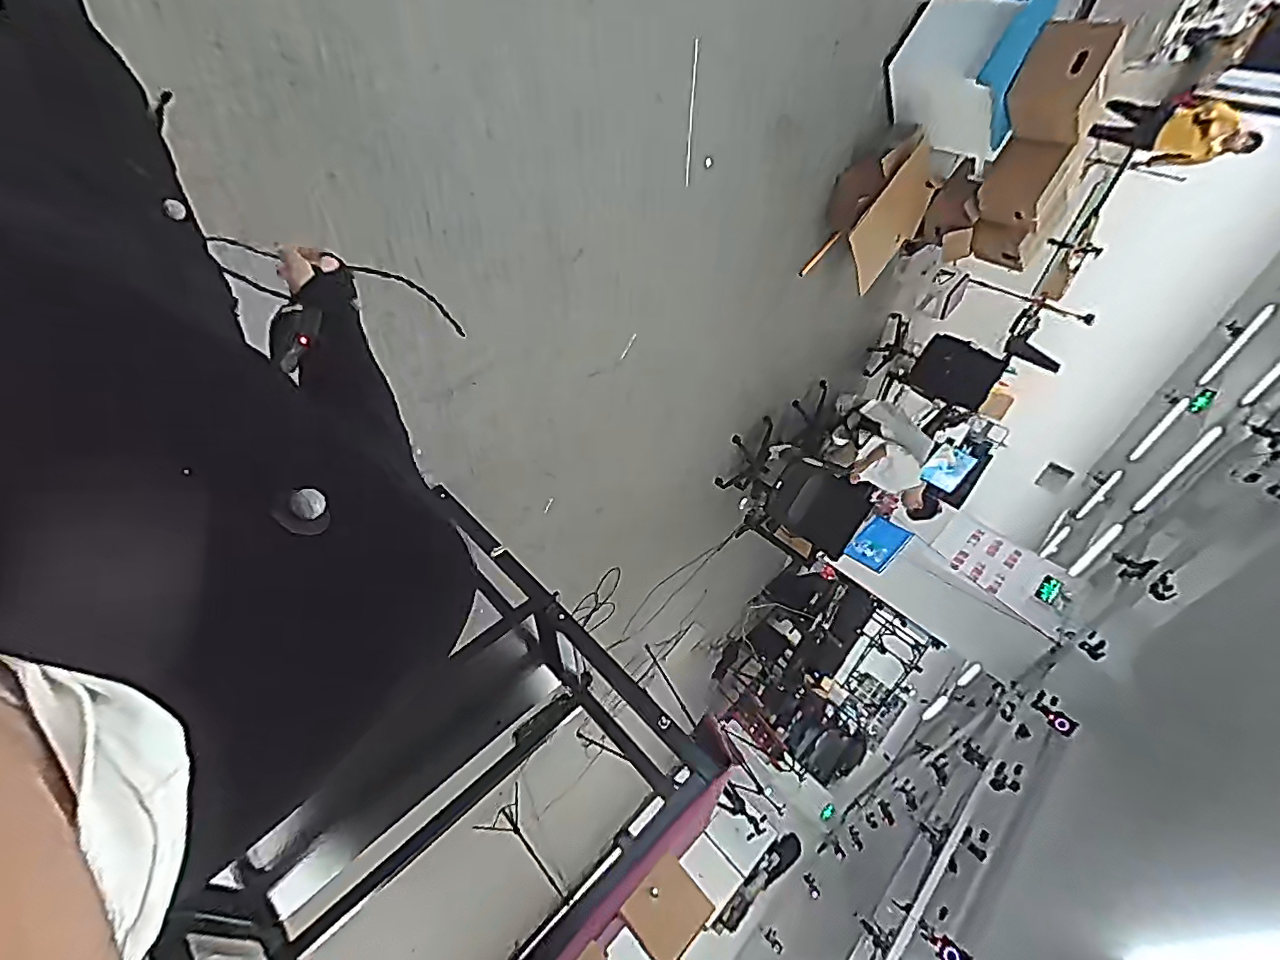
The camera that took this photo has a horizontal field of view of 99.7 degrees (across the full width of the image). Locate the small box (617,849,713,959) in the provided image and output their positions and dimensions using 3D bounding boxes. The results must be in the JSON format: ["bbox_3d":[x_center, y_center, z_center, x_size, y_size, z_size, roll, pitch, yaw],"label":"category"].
[{"bbox_3d":[0.055,1.076,1.349,0.179,0.176,0.168,-33,146,-29],"label":"small box"}]
